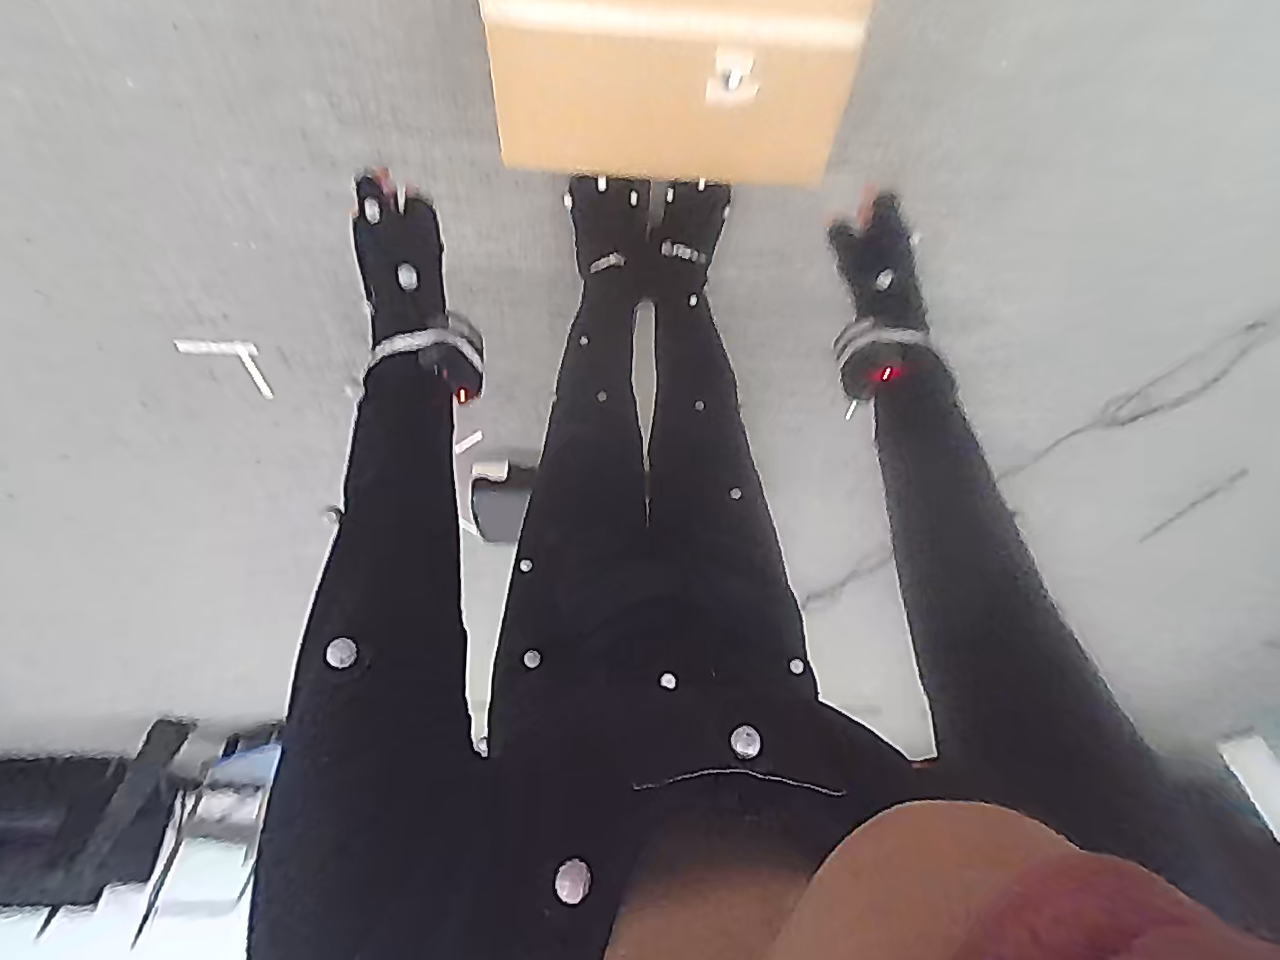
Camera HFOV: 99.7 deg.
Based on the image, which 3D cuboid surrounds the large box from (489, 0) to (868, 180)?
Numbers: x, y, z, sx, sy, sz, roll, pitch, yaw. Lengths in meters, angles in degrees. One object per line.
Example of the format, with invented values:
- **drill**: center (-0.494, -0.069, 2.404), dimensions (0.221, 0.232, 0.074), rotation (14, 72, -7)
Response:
- **large box**: center (0.034, -0.601, 0.673), dimensions (0.408, 0.320, 0.320), rotation (1, 140, -4)
